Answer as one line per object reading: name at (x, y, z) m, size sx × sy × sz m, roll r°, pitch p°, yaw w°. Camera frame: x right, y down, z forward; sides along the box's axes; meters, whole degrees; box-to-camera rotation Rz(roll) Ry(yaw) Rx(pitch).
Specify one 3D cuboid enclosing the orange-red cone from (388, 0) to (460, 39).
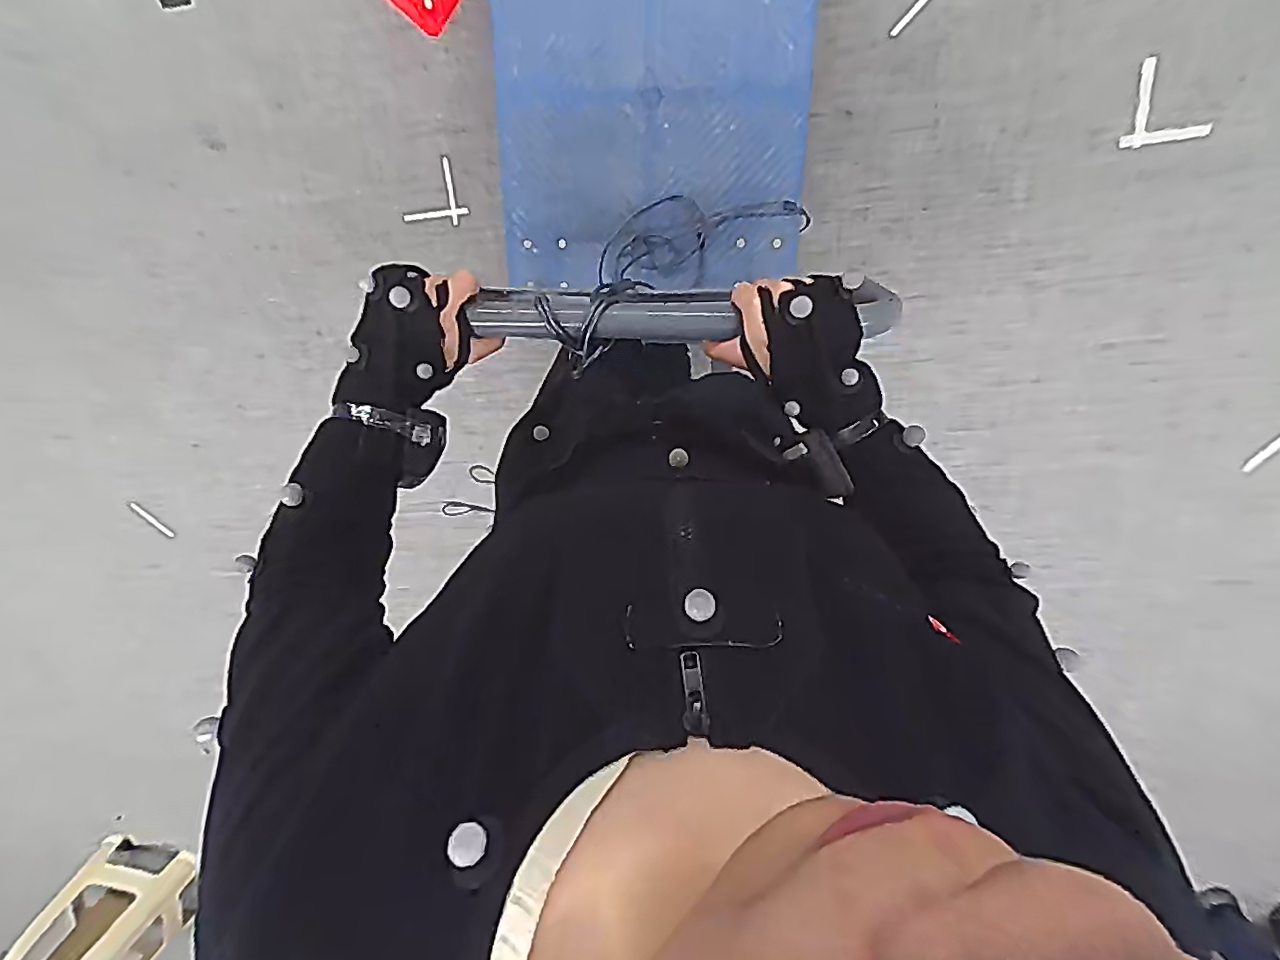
orange-red cone at (-0.445, -0.980, 0.916) m, size 0.198 × 0.360 × 0.199 m, roll 40°, pitch 104°, yaw -10°
